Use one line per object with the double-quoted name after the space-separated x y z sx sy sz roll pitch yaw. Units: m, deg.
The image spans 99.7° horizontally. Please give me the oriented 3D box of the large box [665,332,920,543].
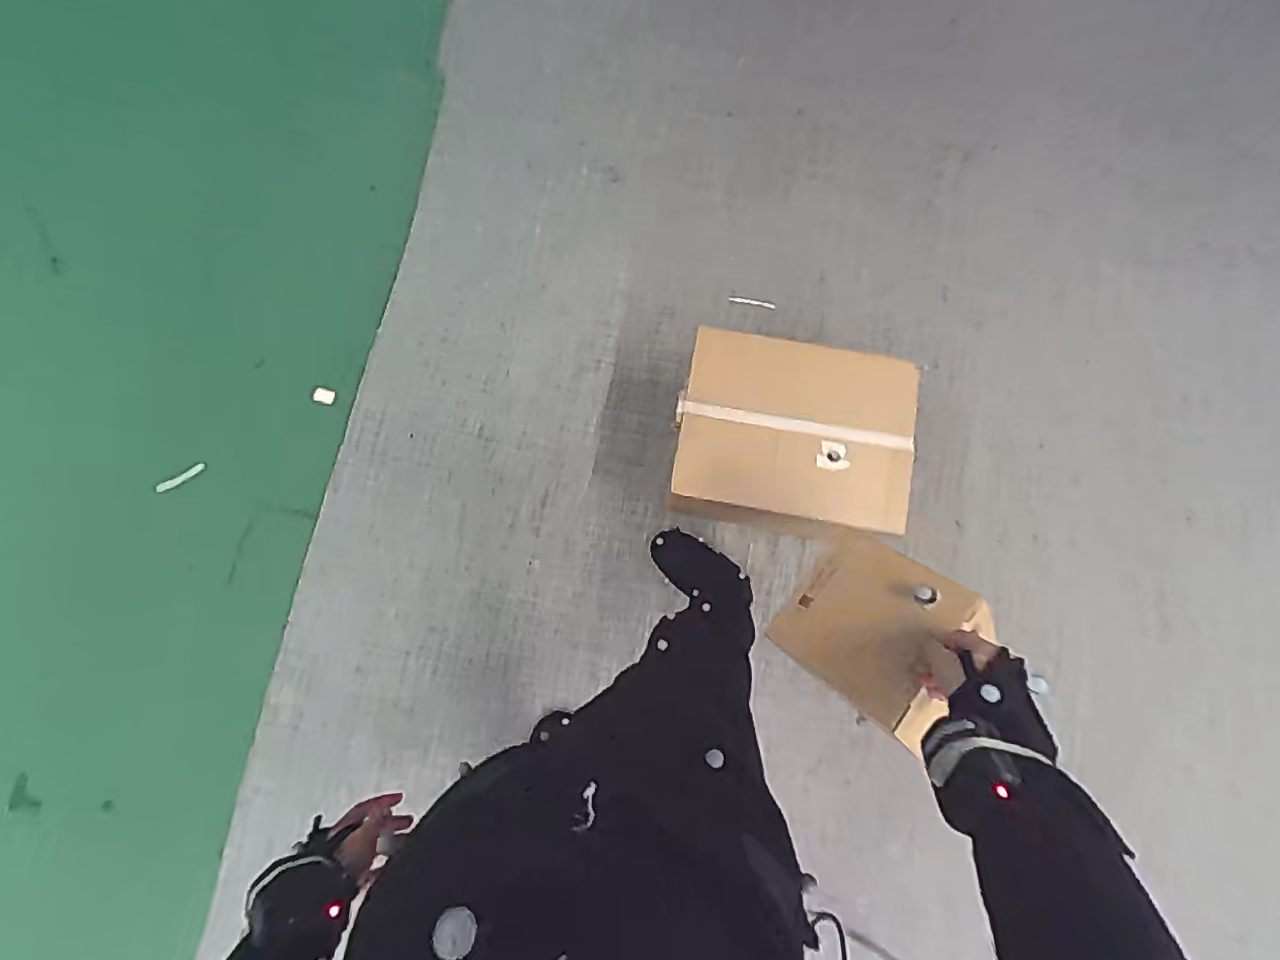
0.275 -0.062 1.086 0.408 0.320 0.320 10 82 2 "large box"
